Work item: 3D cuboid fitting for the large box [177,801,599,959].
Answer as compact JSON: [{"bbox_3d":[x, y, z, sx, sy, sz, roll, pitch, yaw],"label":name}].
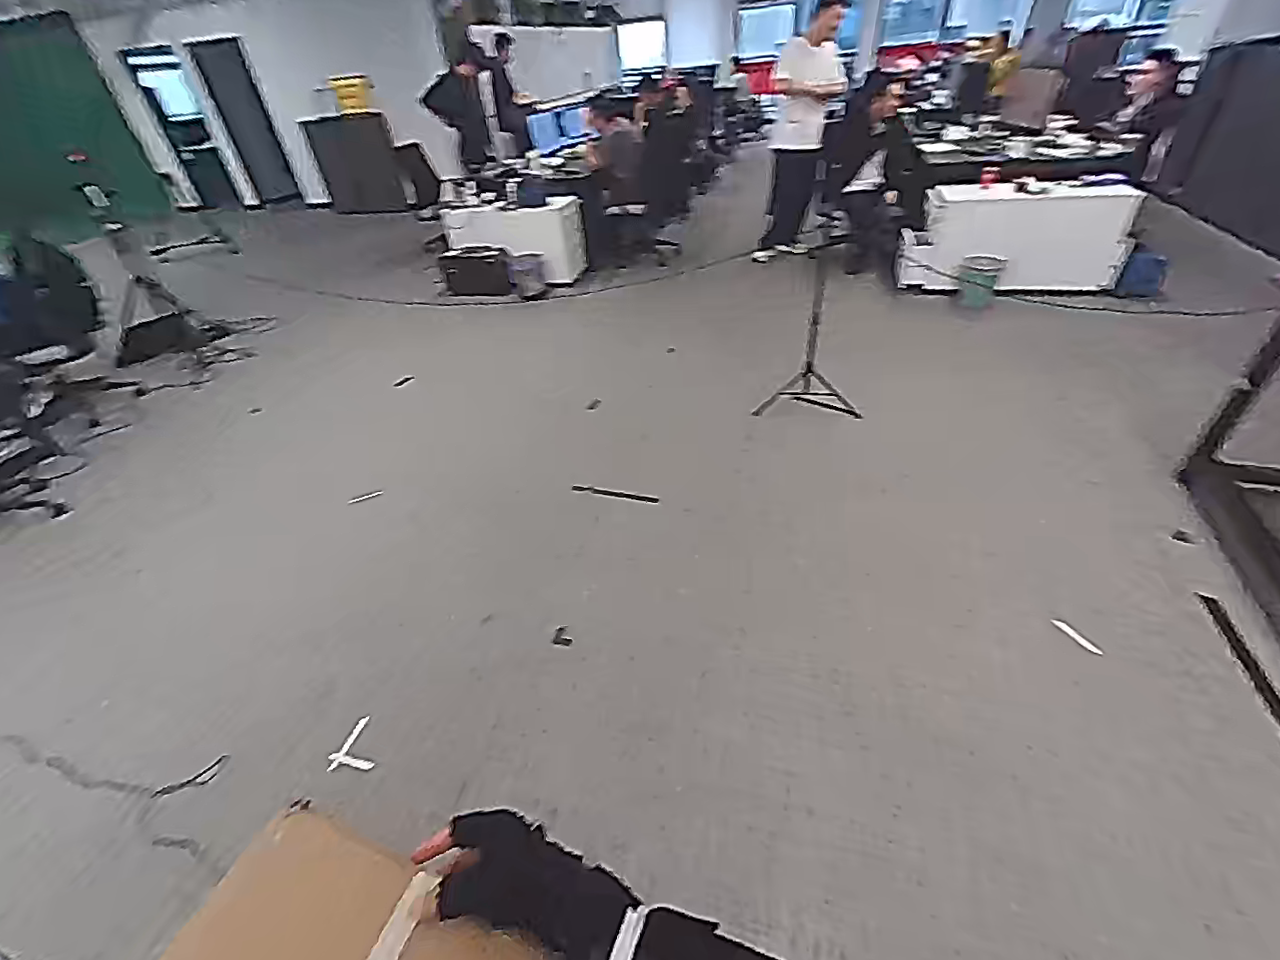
[{"bbox_3d":[-0.236,0.560,0.411,0.320,0.320,0.408,15,45,16],"label":"large box"}]
